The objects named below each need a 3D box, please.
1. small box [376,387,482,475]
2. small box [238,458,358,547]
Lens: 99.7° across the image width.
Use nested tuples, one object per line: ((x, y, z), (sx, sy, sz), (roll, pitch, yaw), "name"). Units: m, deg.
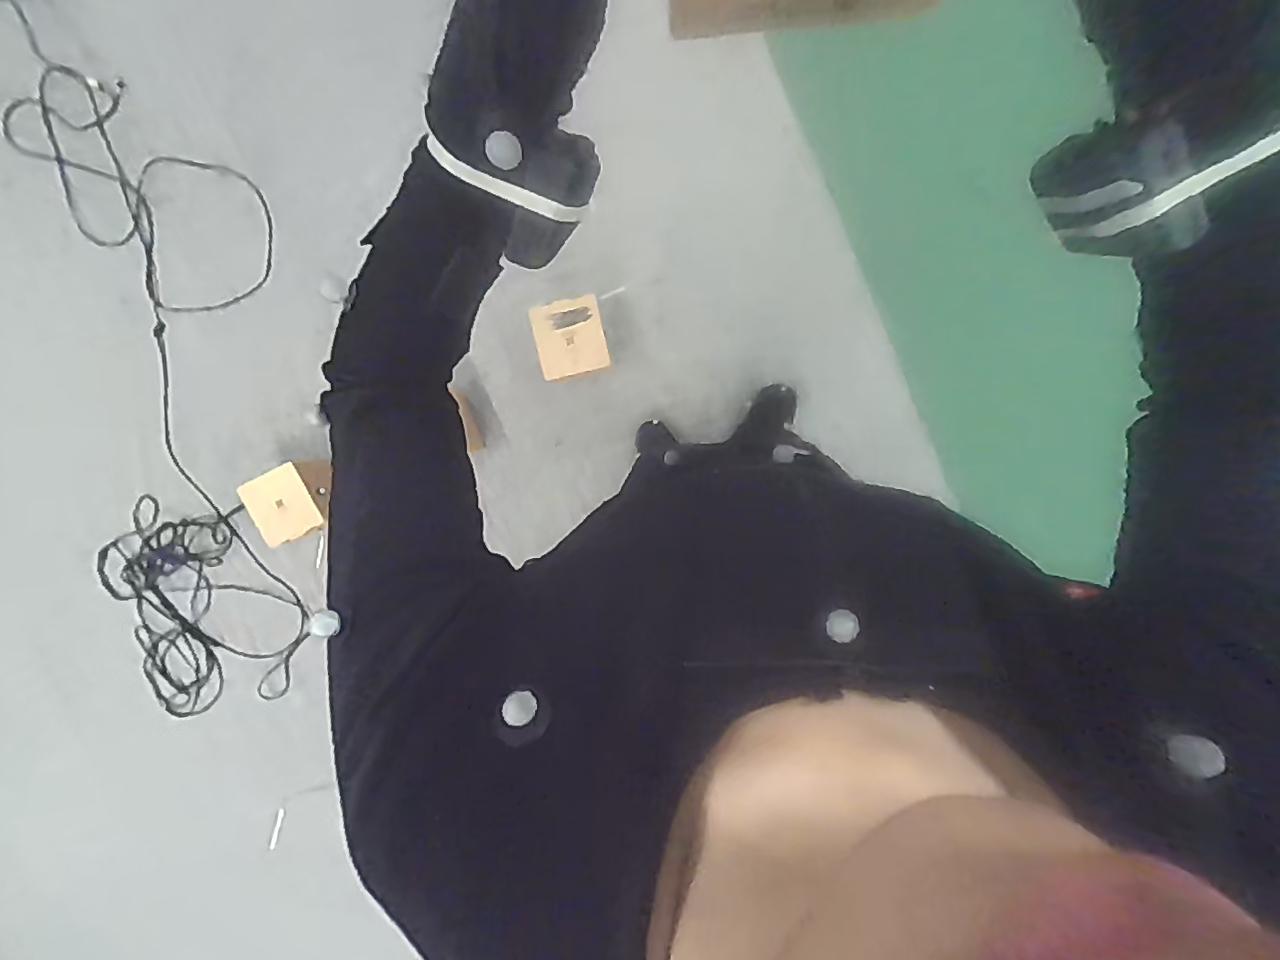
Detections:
((-0.534, -0.129, 1.397), (0.168, 0.176, 0.179), (-21, 96, 4), "small box")
((-0.894, 0.050, 1.430), (0.168, 0.176, 0.179), (-26, 96, 5), "small box")
